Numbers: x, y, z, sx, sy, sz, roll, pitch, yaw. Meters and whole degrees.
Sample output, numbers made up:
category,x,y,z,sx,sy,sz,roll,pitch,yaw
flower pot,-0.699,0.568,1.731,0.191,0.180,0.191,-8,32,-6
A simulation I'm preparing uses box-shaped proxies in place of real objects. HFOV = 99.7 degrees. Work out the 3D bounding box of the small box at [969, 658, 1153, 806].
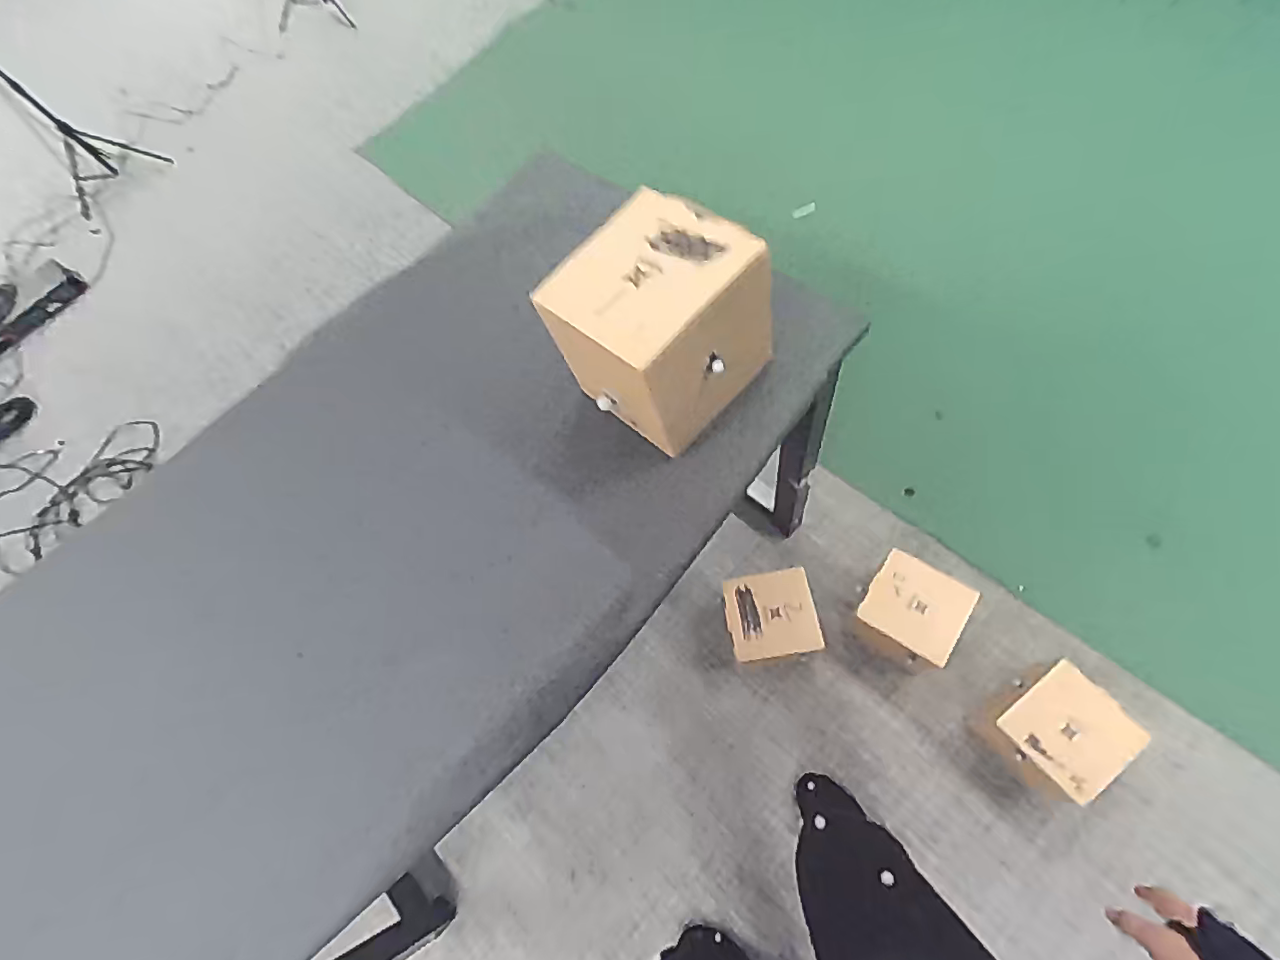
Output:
category,x,y,z,sx,sy,sz,roll,pitch,yaw
small box,0.750,0.451,0.989,0.179,0.176,0.168,-38,66,-6

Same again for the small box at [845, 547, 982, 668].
category,x,y,z,sx,sy,sz,roll,pitch,yaw
small box,0.550,0.267,1.109,0.179,0.176,0.168,32,76,22

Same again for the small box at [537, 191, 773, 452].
category,x,y,z,sx,sy,sz,roll,pitch,yaw
small box,0.027,-0.166,0.591,0.179,0.176,0.168,-46,62,-8
